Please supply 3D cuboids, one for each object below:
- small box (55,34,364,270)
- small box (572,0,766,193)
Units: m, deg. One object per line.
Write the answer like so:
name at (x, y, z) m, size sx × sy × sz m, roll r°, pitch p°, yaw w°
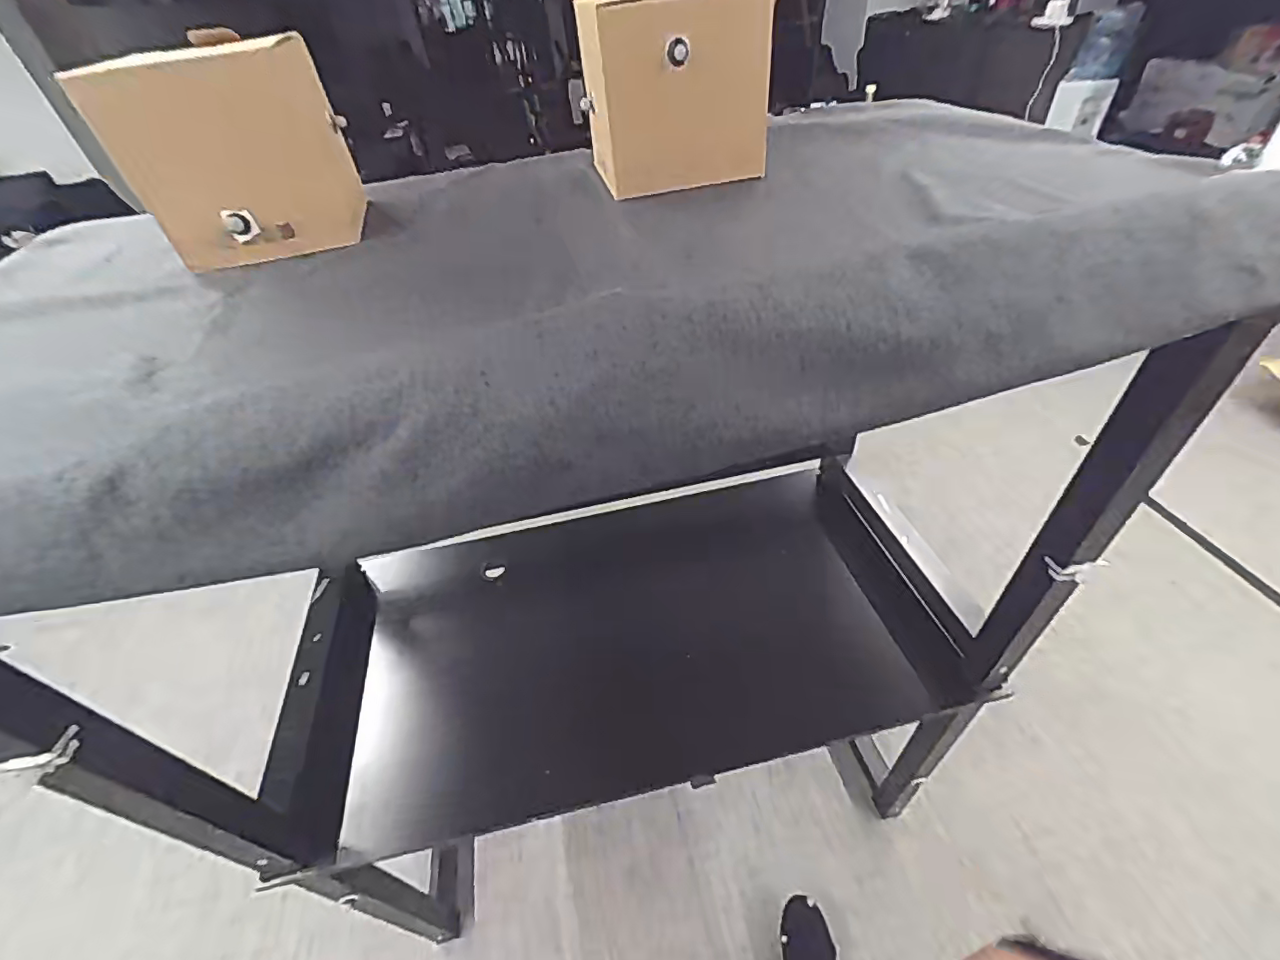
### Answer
small box at (-0.404, -0.336, 0.554) m, size 0.168 × 0.176 × 0.179 m, roll -16°, pitch 44°, yaw -9°
small box at (0.031, -0.437, 0.604) m, size 0.179 × 0.176 × 0.168 m, roll -11°, pitch 44°, yaw -5°
